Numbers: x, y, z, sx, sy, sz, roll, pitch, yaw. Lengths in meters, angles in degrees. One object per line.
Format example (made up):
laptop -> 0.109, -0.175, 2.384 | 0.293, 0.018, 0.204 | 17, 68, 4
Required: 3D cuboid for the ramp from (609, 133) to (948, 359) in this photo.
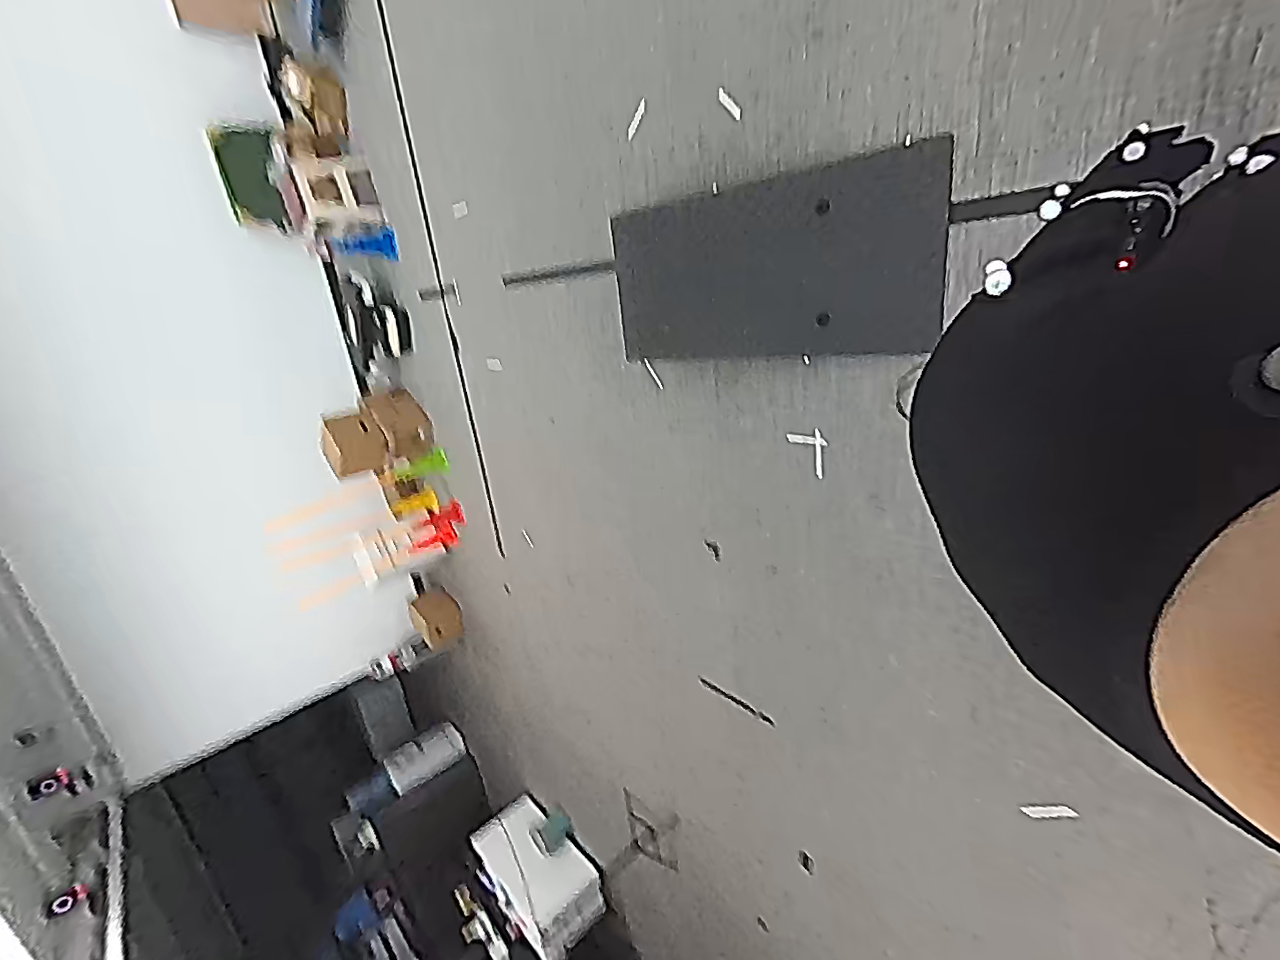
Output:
ramp -> 0.326, -0.617, 1.587 | 0.991, 0.206, 0.509 | 11, 115, 46
